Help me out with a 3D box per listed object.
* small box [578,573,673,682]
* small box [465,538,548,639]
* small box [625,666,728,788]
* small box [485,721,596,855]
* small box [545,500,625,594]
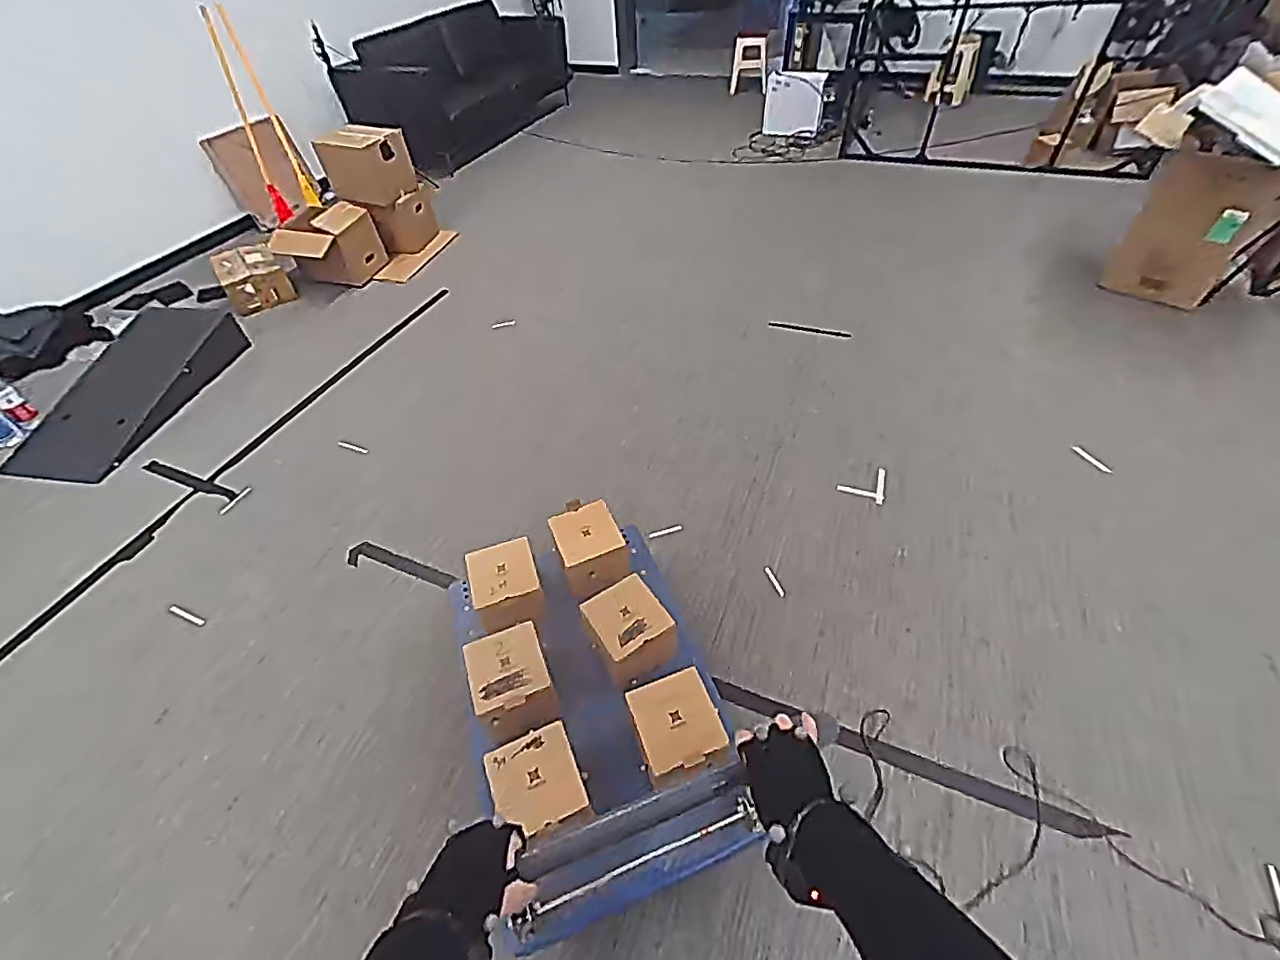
[{"bbox_3d":[-0.031,0.371,1.333,0.168,0.176,0.179,-28,51,-21],"label":"small box"},{"bbox_3d":[-0.350,0.287,1.428,0.168,0.176,0.179,-16,49,-12],"label":"small box"},{"bbox_3d":[0.076,0.541,1.172,0.168,0.176,0.179,-17,48,-13],"label":"small box"},{"bbox_3d":[-0.198,0.631,1.100,0.168,0.176,0.179,-20,50,-16],"label":"small box"},{"bbox_3d":[-0.148,0.194,1.505,0.168,0.176,0.179,-20,49,-15],"label":"small box"}]
